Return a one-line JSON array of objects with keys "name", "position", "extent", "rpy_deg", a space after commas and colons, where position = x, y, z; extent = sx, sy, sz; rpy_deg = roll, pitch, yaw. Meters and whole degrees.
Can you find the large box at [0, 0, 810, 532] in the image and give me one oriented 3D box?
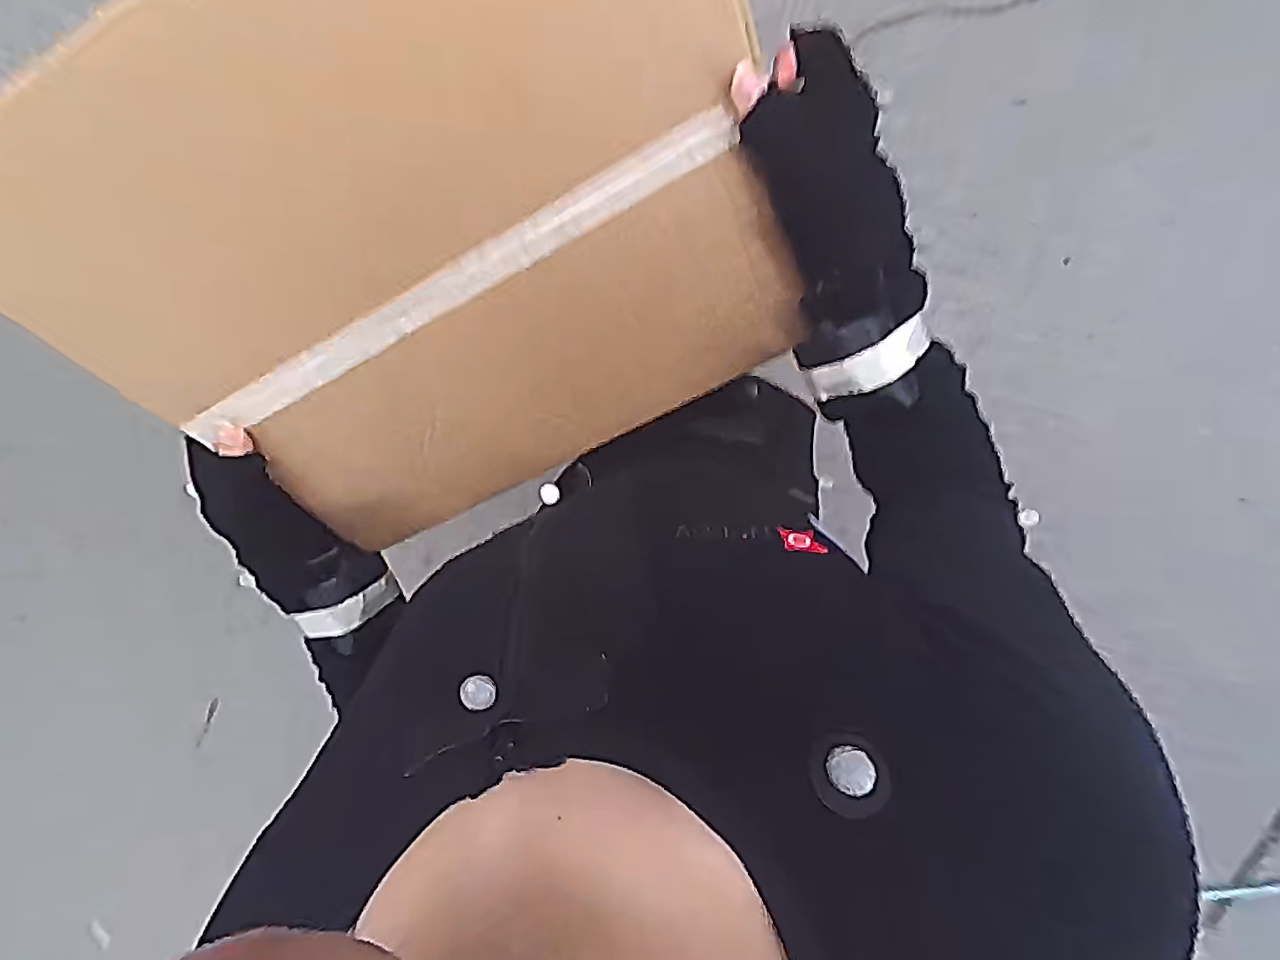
[{"name": "large box", "position": [-0.136, -0.228, 0.437], "extent": [0.408, 0.320, 0.320], "rpy_deg": [-25, 134, 11]}]
